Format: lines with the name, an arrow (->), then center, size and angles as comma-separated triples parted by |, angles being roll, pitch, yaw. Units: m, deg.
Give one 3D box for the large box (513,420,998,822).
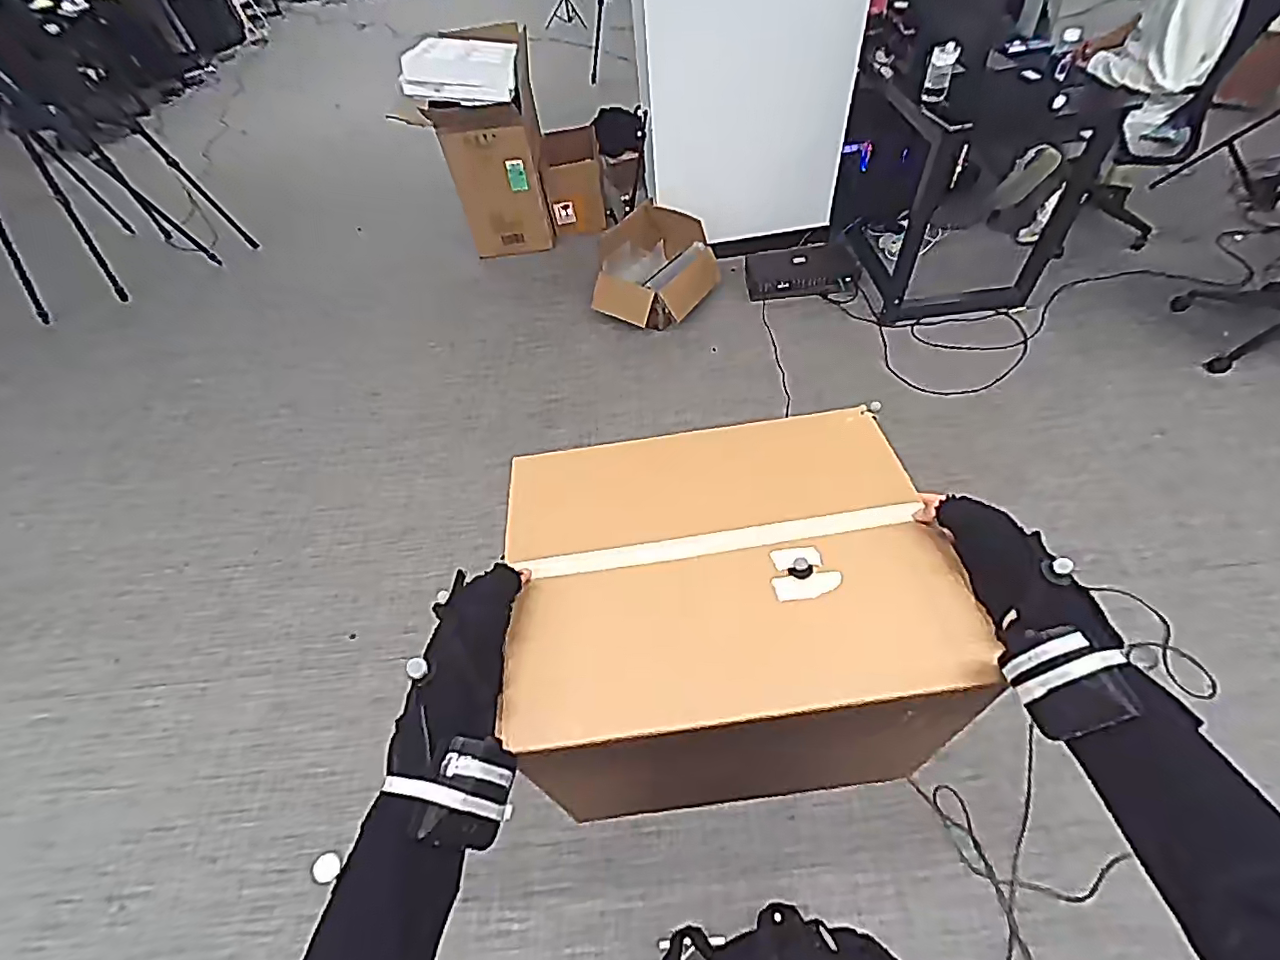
large box -> 0.089, 0.170, 0.638 | 0.408, 0.320, 0.320 | -9, 49, 0
